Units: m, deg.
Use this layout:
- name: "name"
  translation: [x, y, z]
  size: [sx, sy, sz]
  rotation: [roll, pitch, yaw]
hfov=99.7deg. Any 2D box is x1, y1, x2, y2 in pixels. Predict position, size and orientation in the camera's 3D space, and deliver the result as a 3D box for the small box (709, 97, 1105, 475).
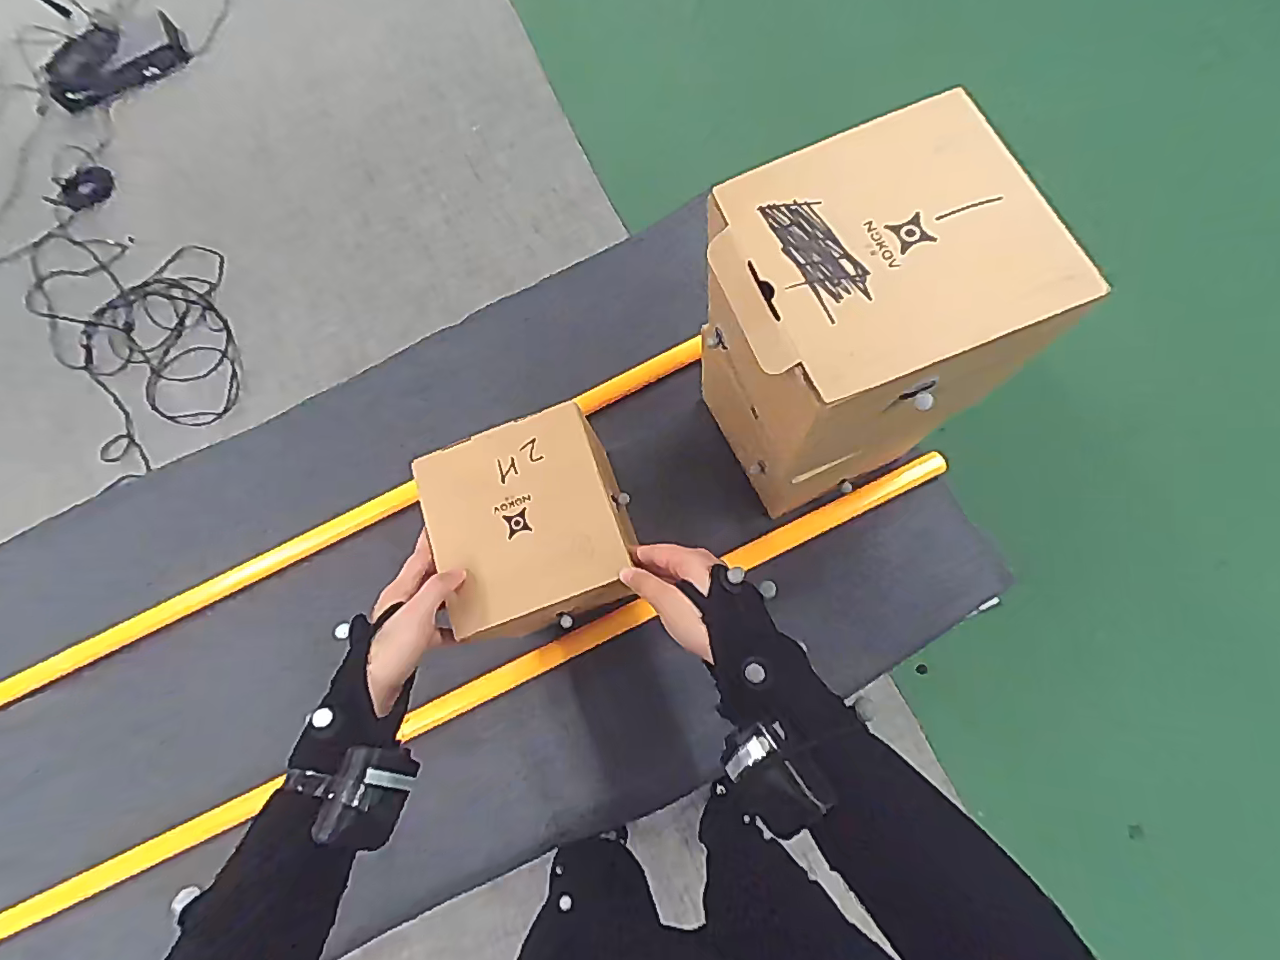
- name: "small box"
  translation: [0.161, -0.120, 0.399]
  size: [0.179, 0.176, 0.168]
  rotation: [-22, 75, 0]
